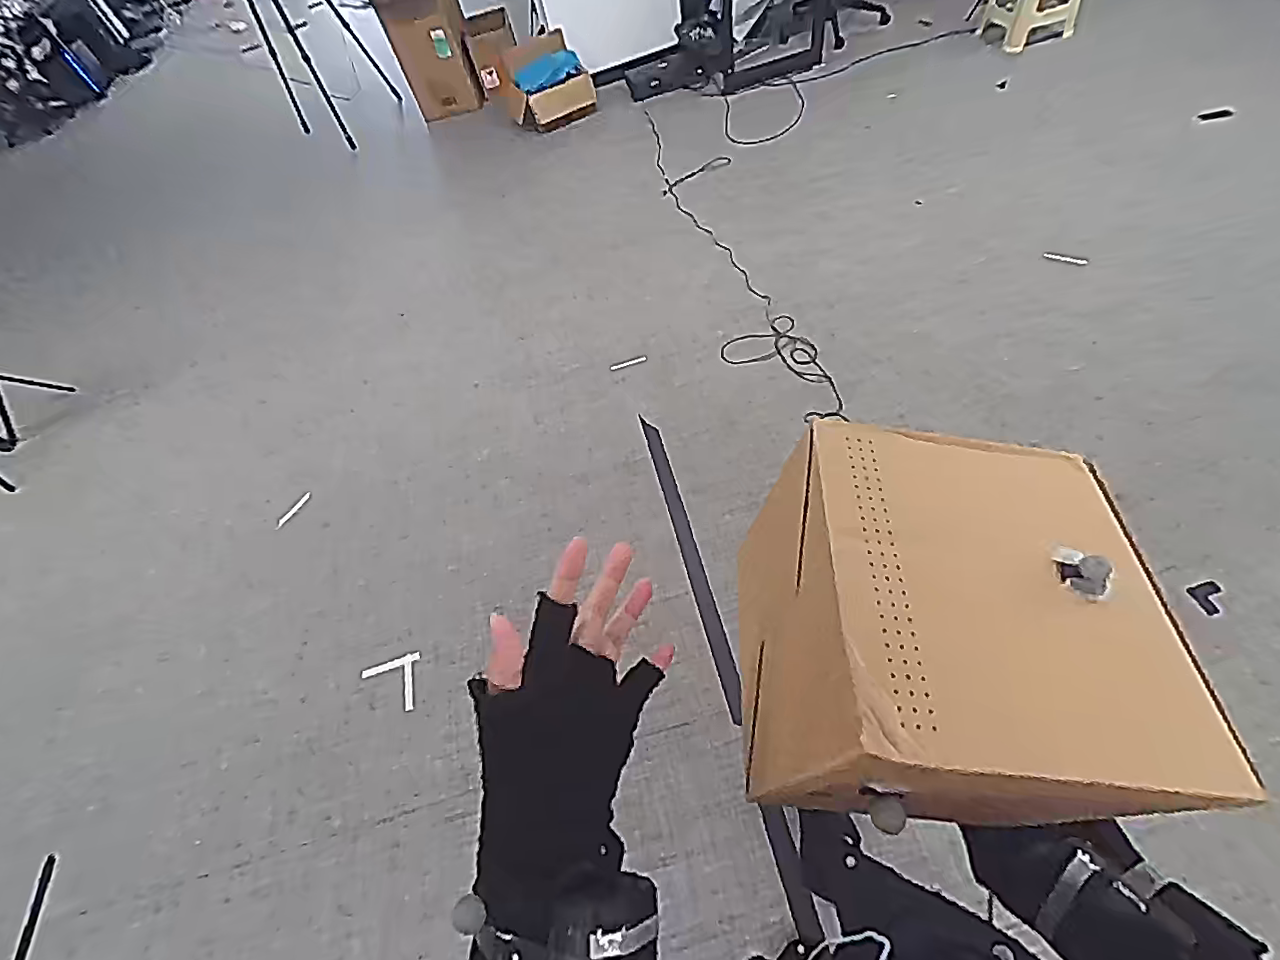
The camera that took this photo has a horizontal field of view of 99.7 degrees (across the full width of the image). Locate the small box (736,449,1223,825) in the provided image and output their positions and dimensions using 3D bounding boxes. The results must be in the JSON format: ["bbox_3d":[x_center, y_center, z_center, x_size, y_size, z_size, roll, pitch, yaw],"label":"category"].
[{"bbox_3d":[0.159,0.099,0.334,0.176,0.168,0.179,7,54,-2],"label":"small box"}]
